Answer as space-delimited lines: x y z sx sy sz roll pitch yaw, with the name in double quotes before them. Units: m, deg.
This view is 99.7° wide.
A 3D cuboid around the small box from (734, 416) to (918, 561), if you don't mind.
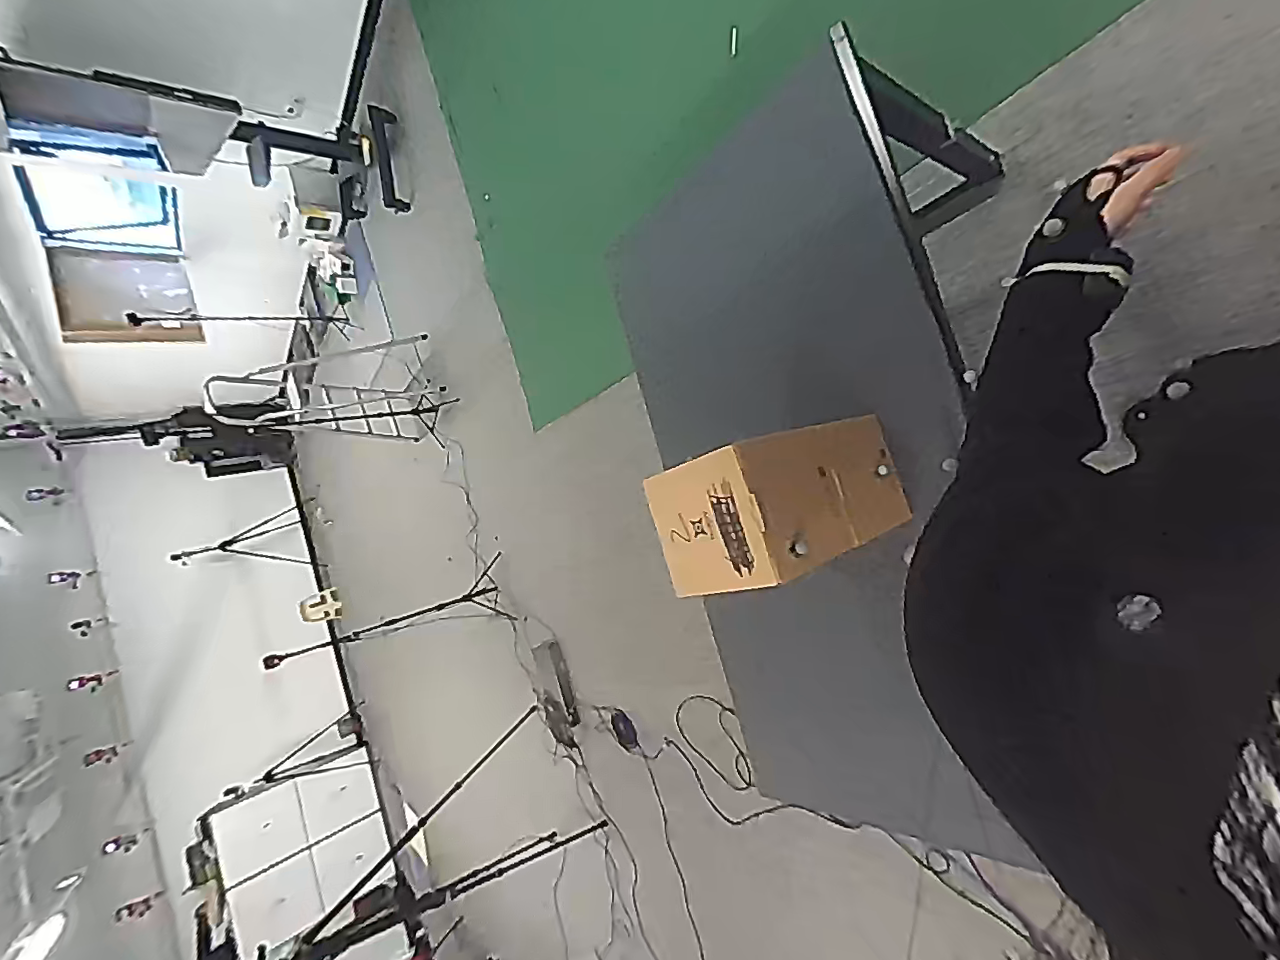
"small box" 0.279 0.012 0.817 0.179 0.176 0.168 -24 82 50
